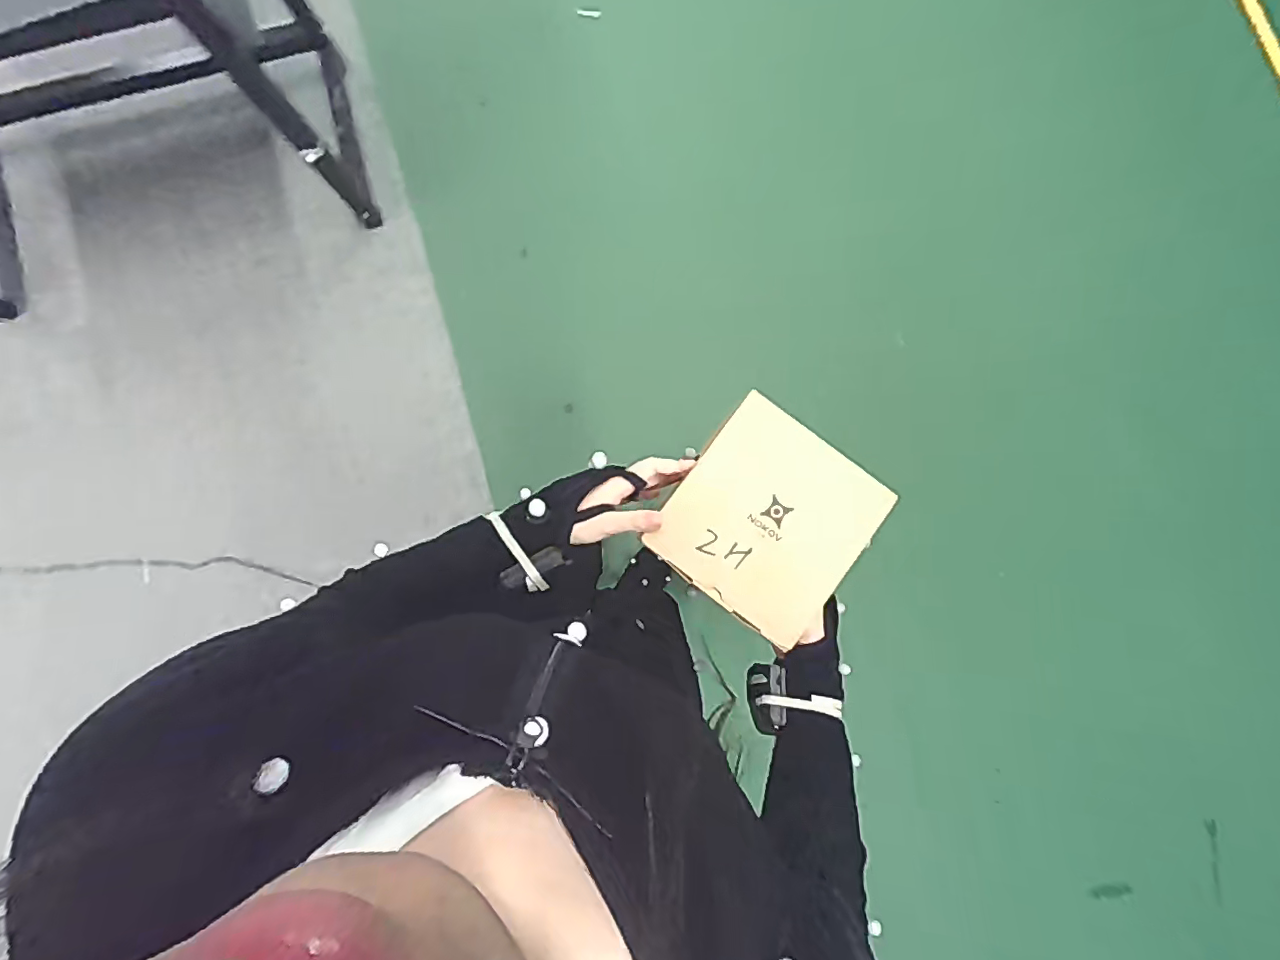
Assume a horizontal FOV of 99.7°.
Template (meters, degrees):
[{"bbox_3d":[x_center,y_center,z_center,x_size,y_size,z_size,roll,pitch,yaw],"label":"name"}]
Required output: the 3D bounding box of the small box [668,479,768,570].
[{"bbox_3d":[0.176,0.103,1.268,0.179,0.176,0.168,-17,85,-3],"label":"small box"}]
